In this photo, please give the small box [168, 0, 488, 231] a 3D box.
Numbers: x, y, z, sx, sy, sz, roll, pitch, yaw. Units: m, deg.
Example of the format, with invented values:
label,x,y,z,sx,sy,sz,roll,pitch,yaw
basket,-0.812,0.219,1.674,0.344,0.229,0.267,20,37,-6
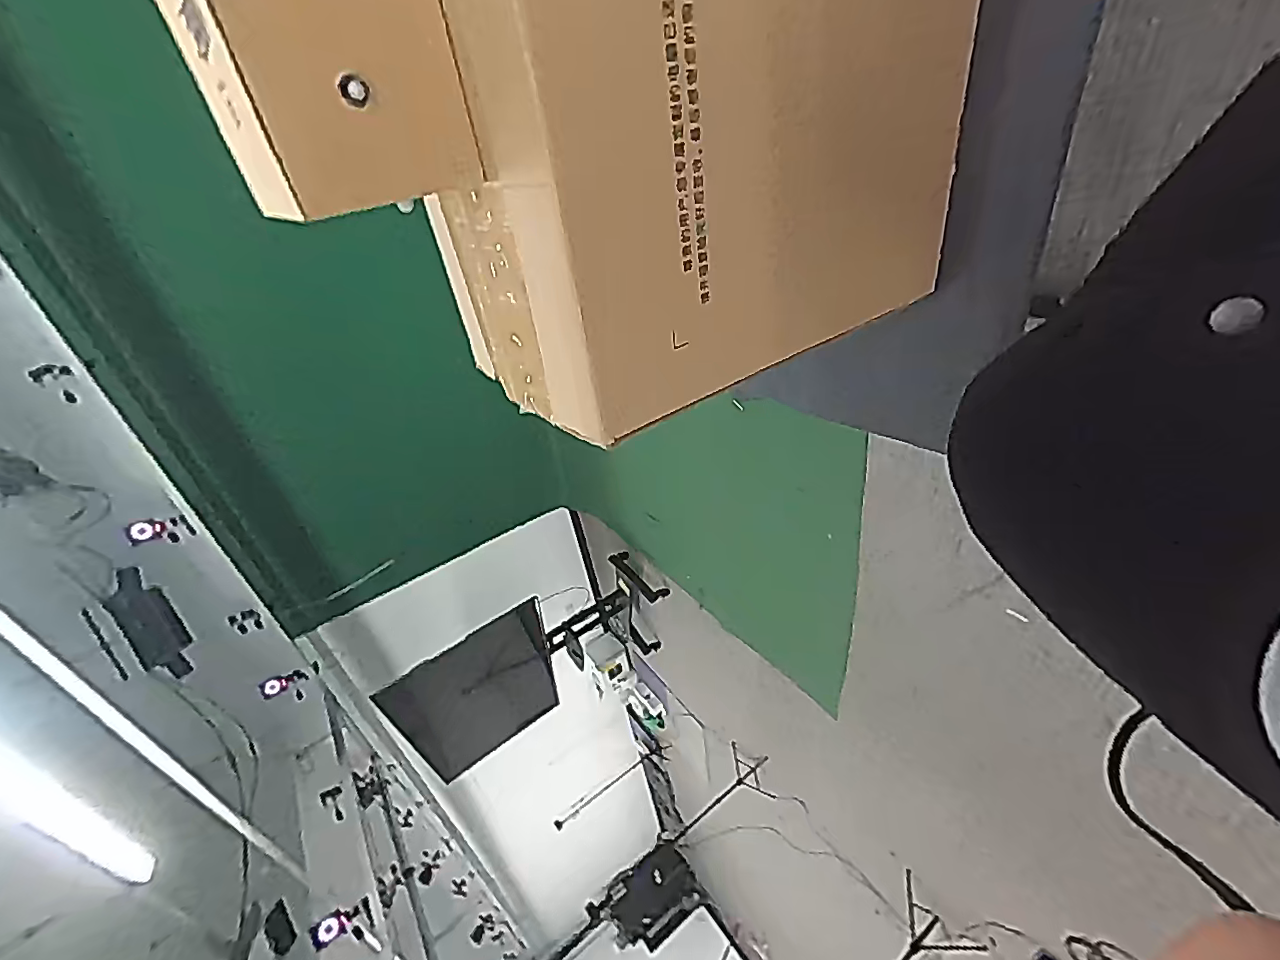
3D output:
label,x,y,z,sx,sy,sz,roll,pitch,yaw
small box,-0.265,-0.339,0.483,0.168,0.176,0.179,28,140,41
